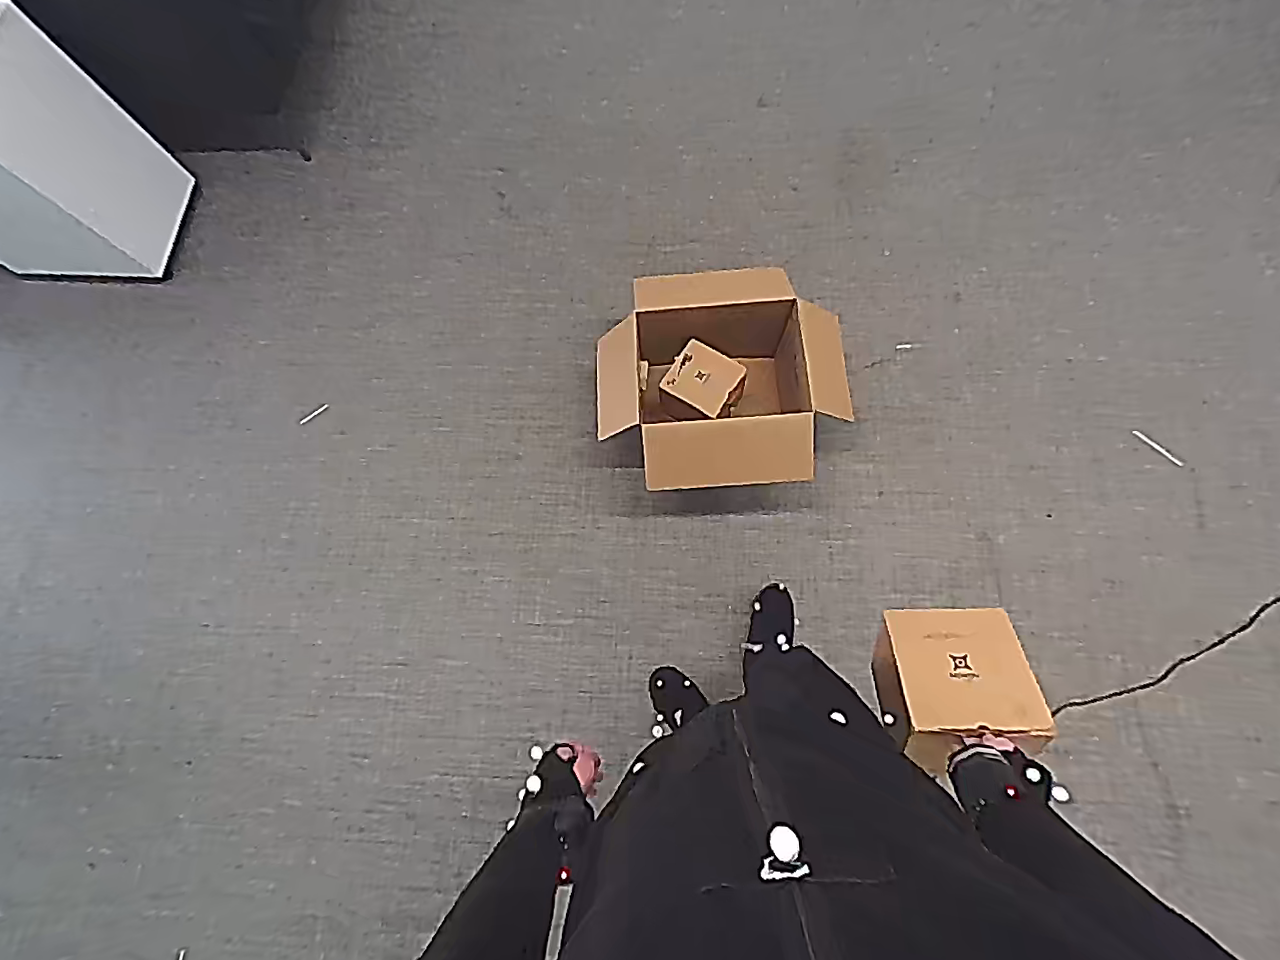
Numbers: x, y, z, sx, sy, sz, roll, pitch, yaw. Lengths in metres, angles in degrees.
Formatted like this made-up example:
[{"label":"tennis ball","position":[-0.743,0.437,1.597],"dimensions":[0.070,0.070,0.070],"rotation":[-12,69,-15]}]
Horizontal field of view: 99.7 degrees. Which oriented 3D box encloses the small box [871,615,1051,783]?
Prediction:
[{"label":"small box","position":[0.444,0.316,0.783],"dimensions":[0.168,0.176,0.179],"rotation":[-2,41,10]}]
